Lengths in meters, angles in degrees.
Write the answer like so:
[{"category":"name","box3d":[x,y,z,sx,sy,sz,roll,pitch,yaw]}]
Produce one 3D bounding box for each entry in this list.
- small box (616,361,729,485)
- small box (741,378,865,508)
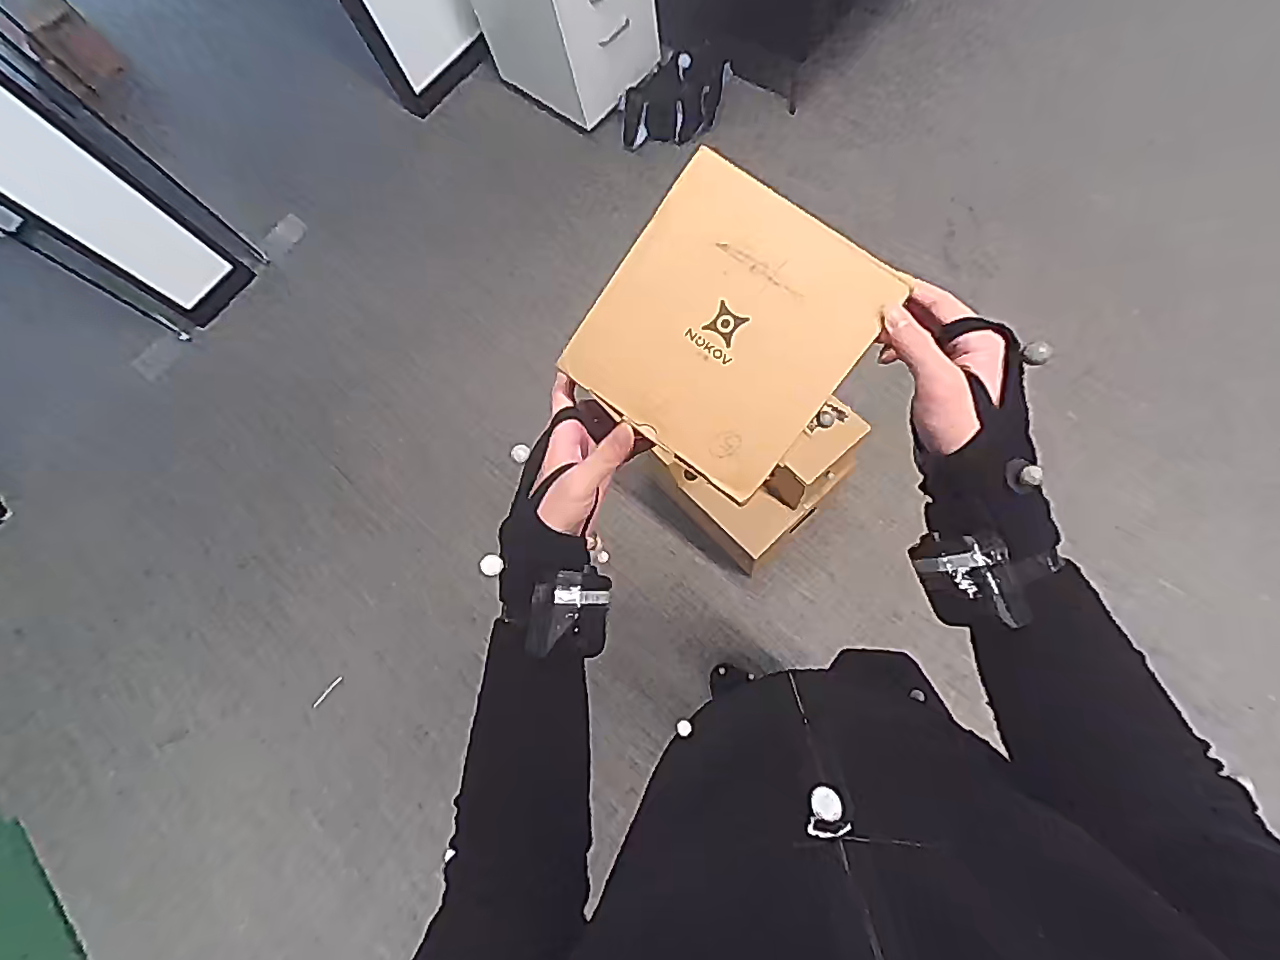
[{"category":"small box","box3d":[0.076,-0.117,1.176,0.179,0.176,0.168,-42,70,-3]},{"category":"small box","box3d":[0.327,-0.068,1.119,0.179,0.176,0.168,-40,69,-7]}]
